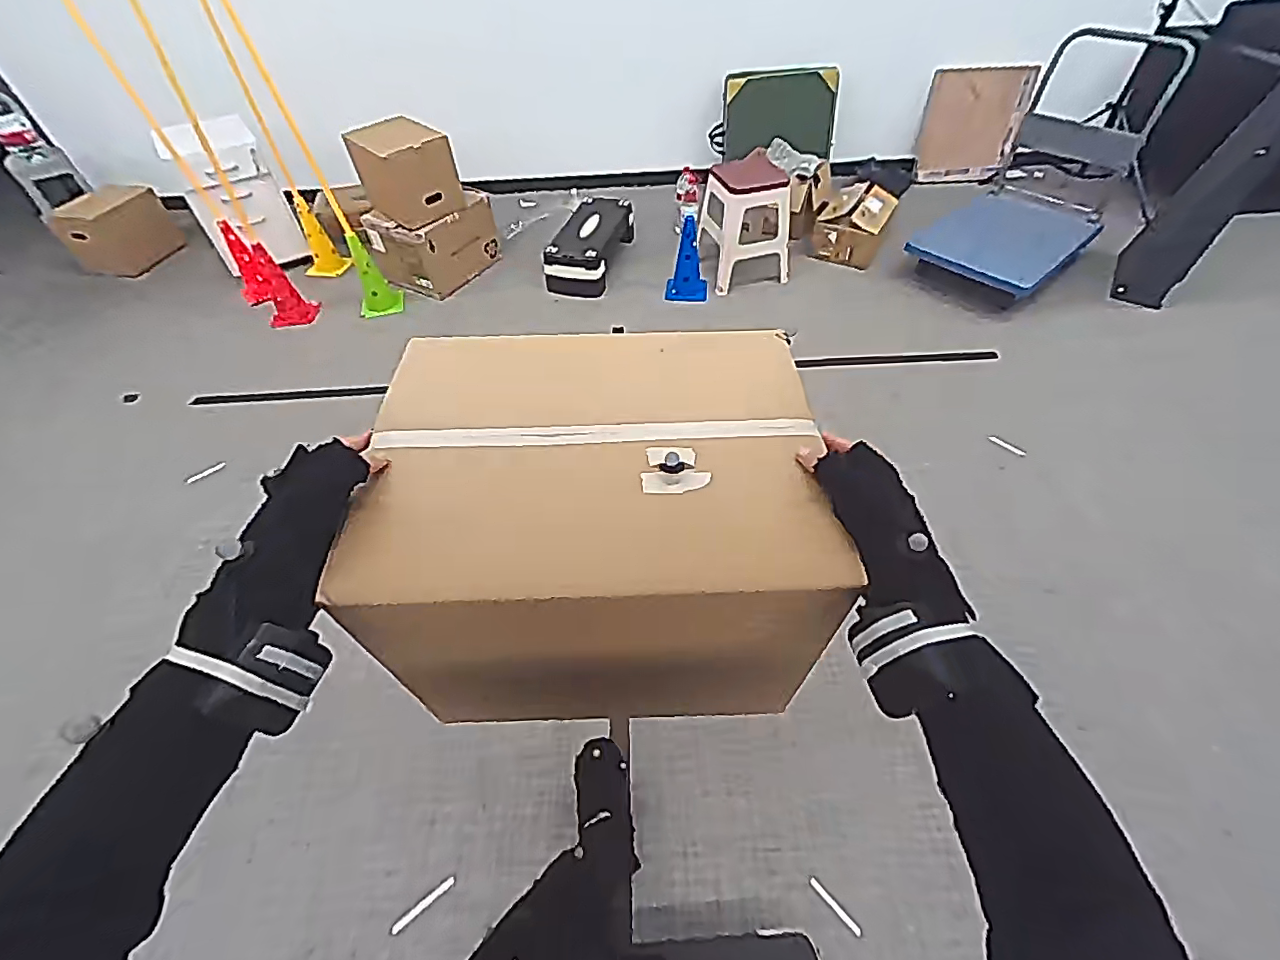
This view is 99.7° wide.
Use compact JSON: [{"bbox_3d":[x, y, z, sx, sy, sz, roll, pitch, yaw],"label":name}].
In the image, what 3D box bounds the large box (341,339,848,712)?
[{"bbox_3d":[-0.040,0.057,0.625,0.408,0.320,0.320,-1,51,-1],"label":"large box"}]
